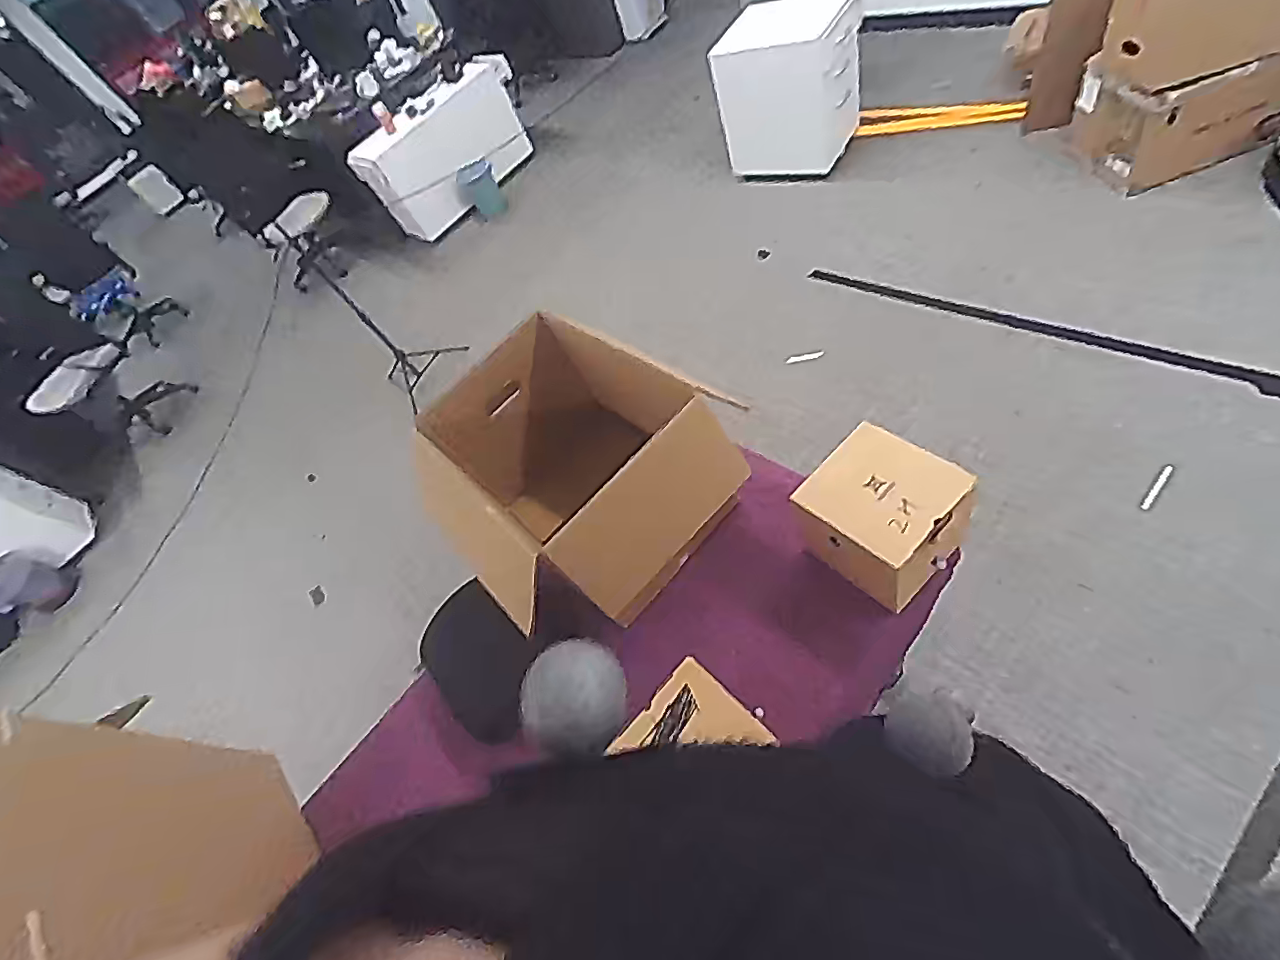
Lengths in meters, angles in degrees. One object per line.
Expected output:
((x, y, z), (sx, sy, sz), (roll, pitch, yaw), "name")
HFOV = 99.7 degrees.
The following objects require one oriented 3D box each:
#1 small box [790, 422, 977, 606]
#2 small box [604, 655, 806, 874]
((0.348, 0.054, 0.790), (0.168, 0.176, 0.179), (-44, 52, -8), "small box")
((0.090, 0.365, 0.698), (0.168, 0.176, 0.179), (-46, 53, -9), "small box")
